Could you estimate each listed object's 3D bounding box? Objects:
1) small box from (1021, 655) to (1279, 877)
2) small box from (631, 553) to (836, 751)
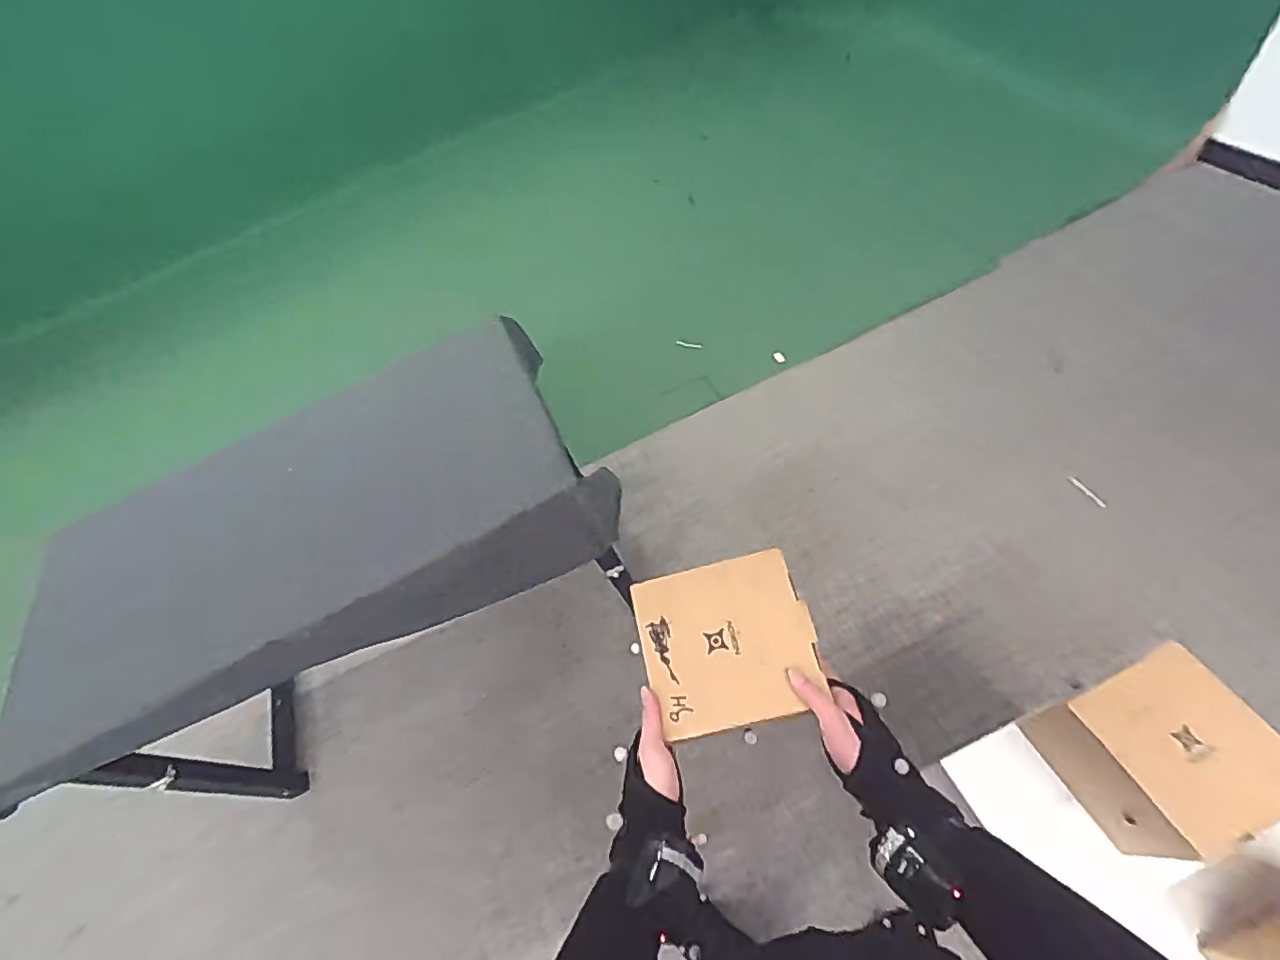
[{"bbox_3d":[0.631,0.352,0.668,0.168,0.176,0.179,-25,54,-6],"label":"small box"},{"bbox_3d":[0.097,0.203,0.619,0.179,0.176,0.168,-13,60,2],"label":"small box"}]
